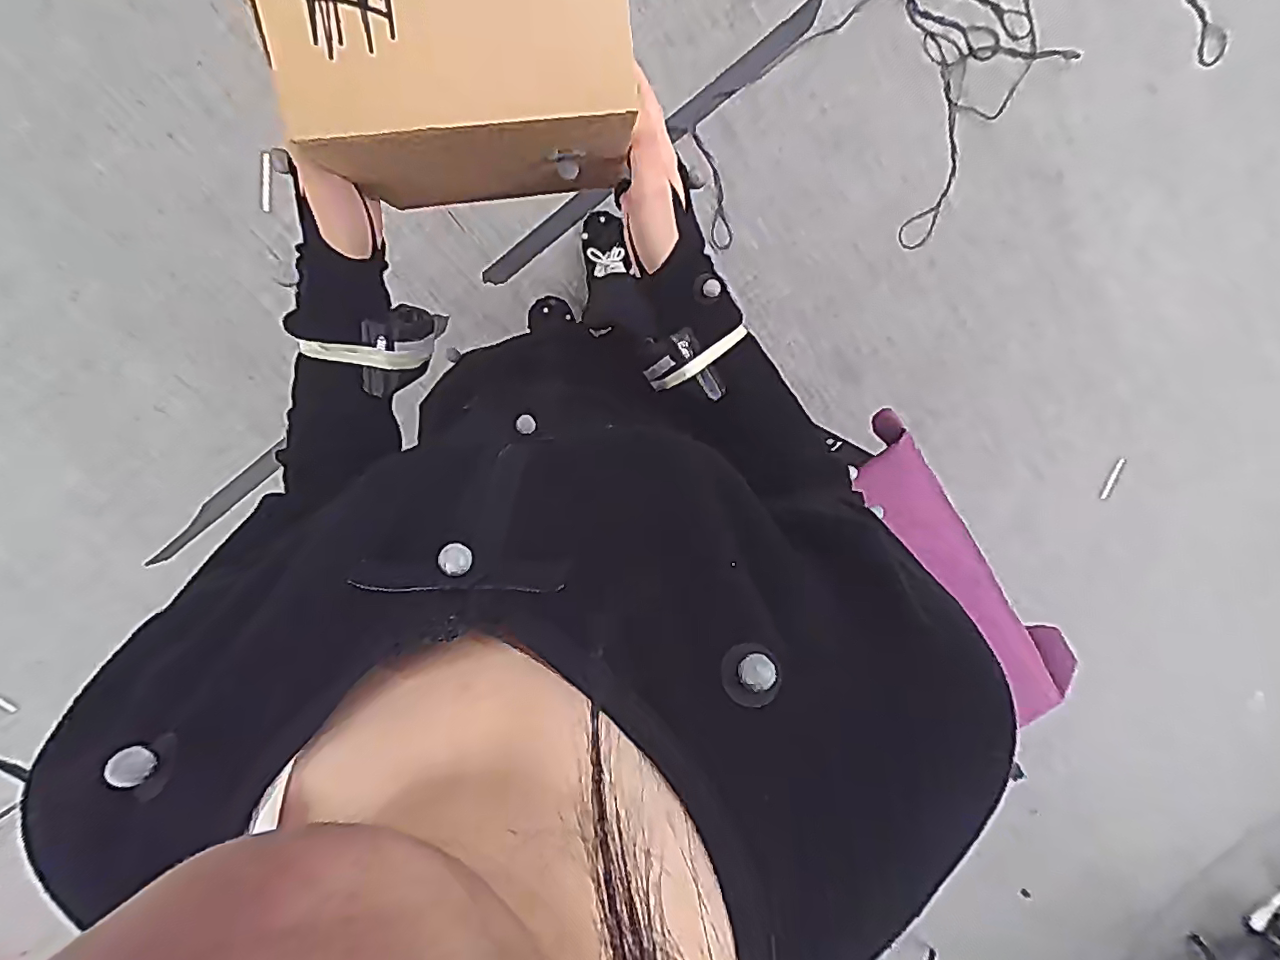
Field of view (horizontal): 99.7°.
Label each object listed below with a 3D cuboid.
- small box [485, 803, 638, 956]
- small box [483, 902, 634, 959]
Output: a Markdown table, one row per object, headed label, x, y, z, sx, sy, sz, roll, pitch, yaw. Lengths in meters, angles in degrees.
| label | x | y | z | sx | sy | sz | roll | pitch | yaw |
| --- | --- | --- | --- | --- | --- | --- | --- | --- | --- |
| small box | -0.123 | 0.678 | 0.884 | 0.168 | 0.176 | 0.179 | -35 | 109 | 5 |
| small box | -0.107 | 0.726 | 0.728 | 0.168 | 0.176 | 0.179 | -33 | 110 | 4 |
